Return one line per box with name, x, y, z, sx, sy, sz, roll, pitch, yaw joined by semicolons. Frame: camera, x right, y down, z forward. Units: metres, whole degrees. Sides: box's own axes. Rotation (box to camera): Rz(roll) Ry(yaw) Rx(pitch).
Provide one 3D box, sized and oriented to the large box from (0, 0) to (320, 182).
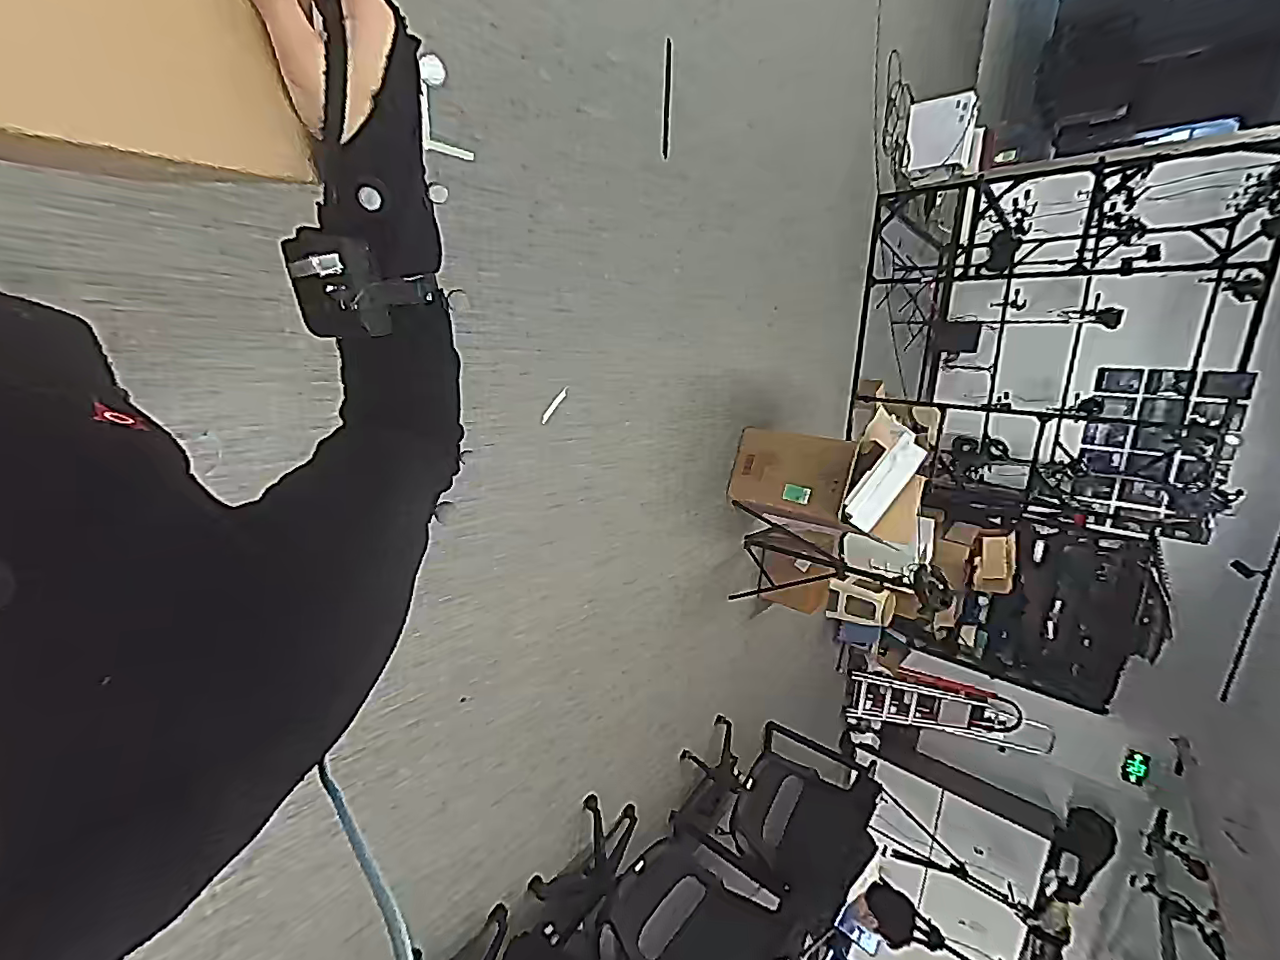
large box;-0.418;-0.315;0.201;0.408;0.320;0.320;-22;126;-50
